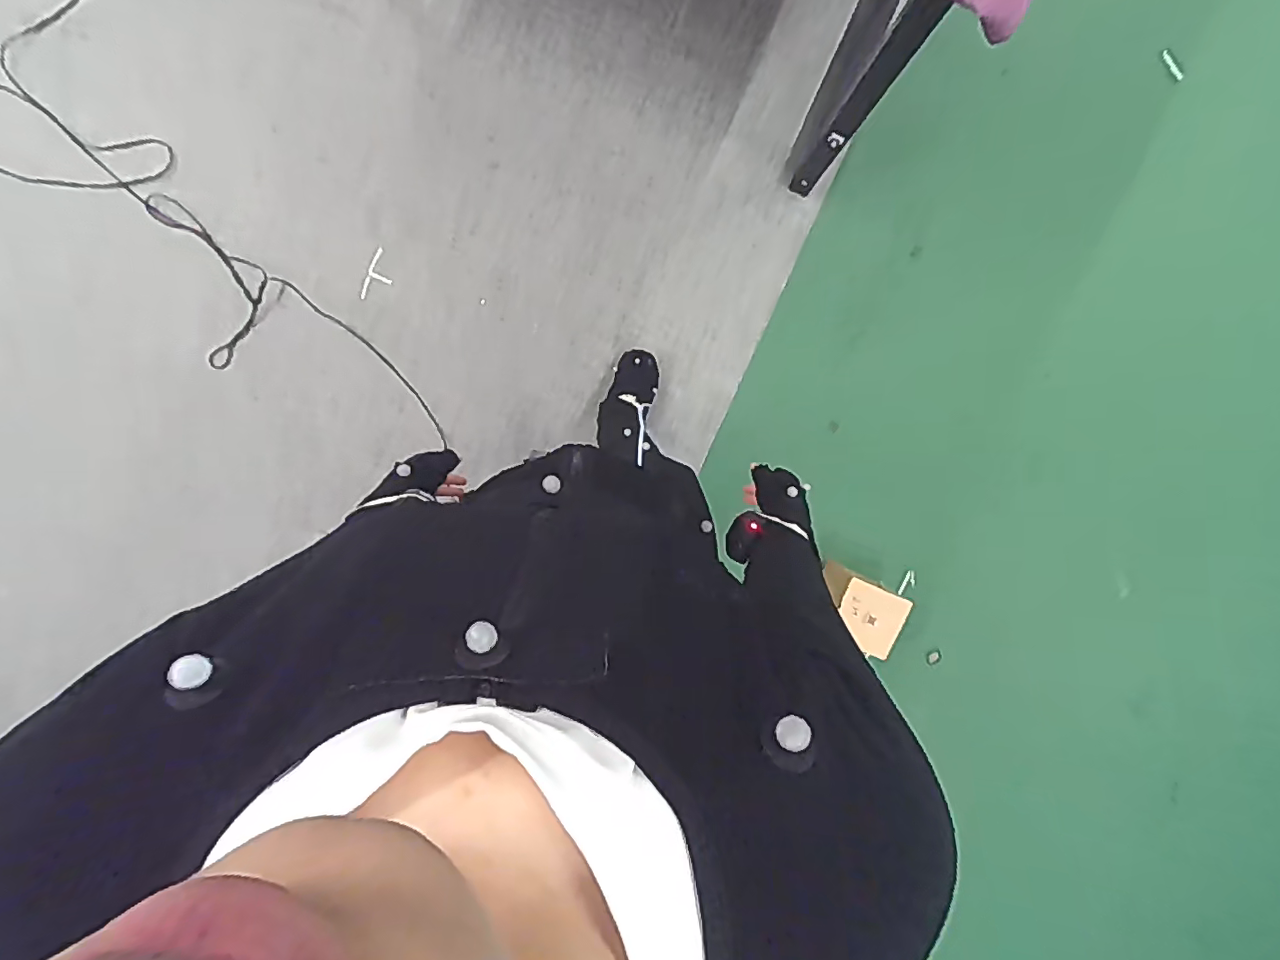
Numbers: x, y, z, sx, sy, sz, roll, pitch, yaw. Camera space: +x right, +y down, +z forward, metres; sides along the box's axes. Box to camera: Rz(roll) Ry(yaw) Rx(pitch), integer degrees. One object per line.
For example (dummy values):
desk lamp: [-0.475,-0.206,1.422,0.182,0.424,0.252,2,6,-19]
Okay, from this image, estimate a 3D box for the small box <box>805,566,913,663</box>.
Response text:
small box: [0.567,0.345,1.422,0.179,0.176,0.168,24,95,-4]
